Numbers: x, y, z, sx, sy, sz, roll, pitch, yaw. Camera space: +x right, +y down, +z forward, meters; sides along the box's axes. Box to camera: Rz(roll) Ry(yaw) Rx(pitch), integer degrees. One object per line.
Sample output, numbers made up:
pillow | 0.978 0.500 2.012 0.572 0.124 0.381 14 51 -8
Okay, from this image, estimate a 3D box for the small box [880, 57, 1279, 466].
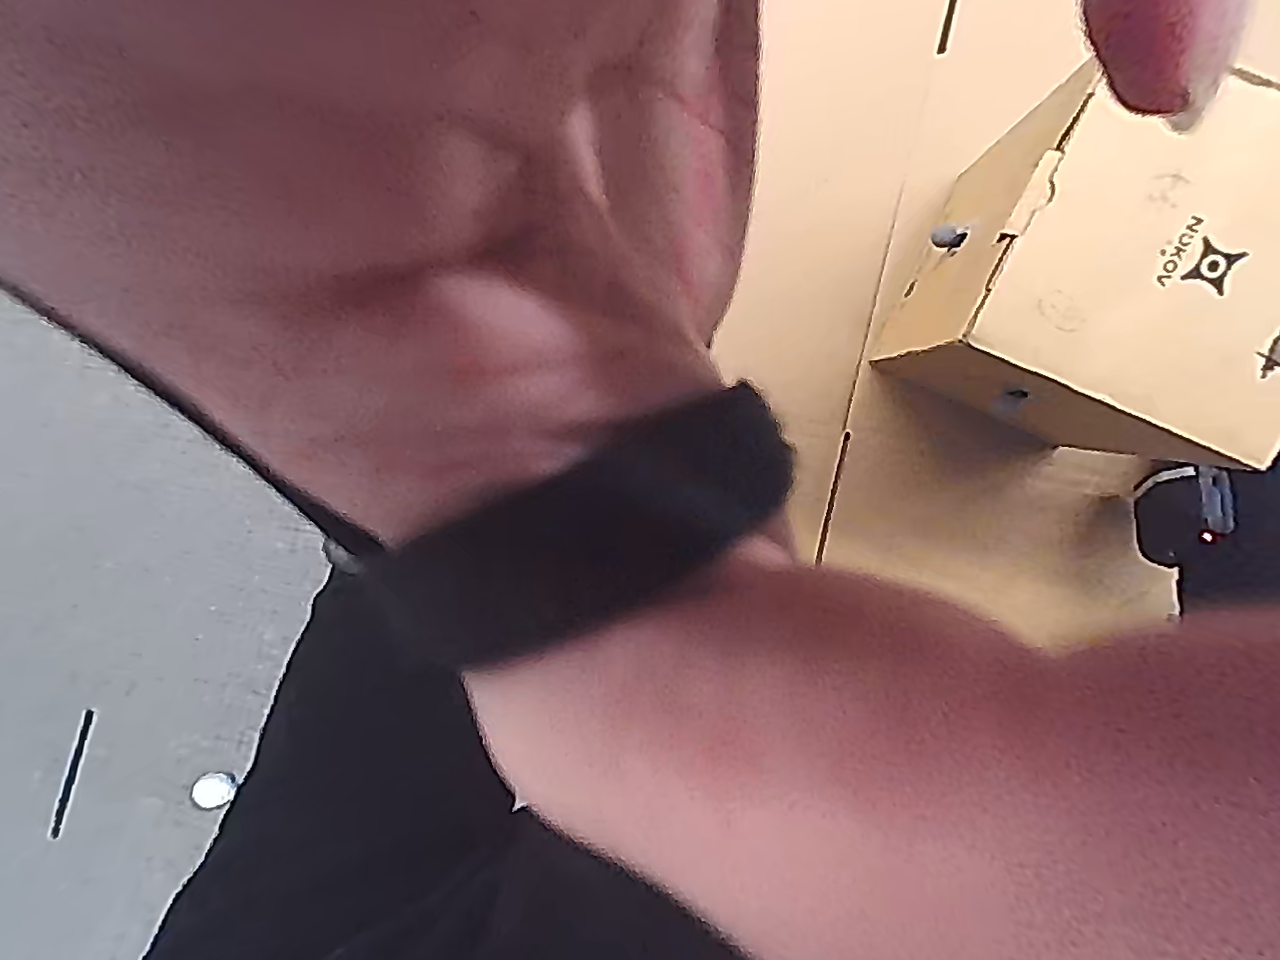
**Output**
small box | 0.296 -0.123 0.367 0.179 0.176 0.168 25 100 4
